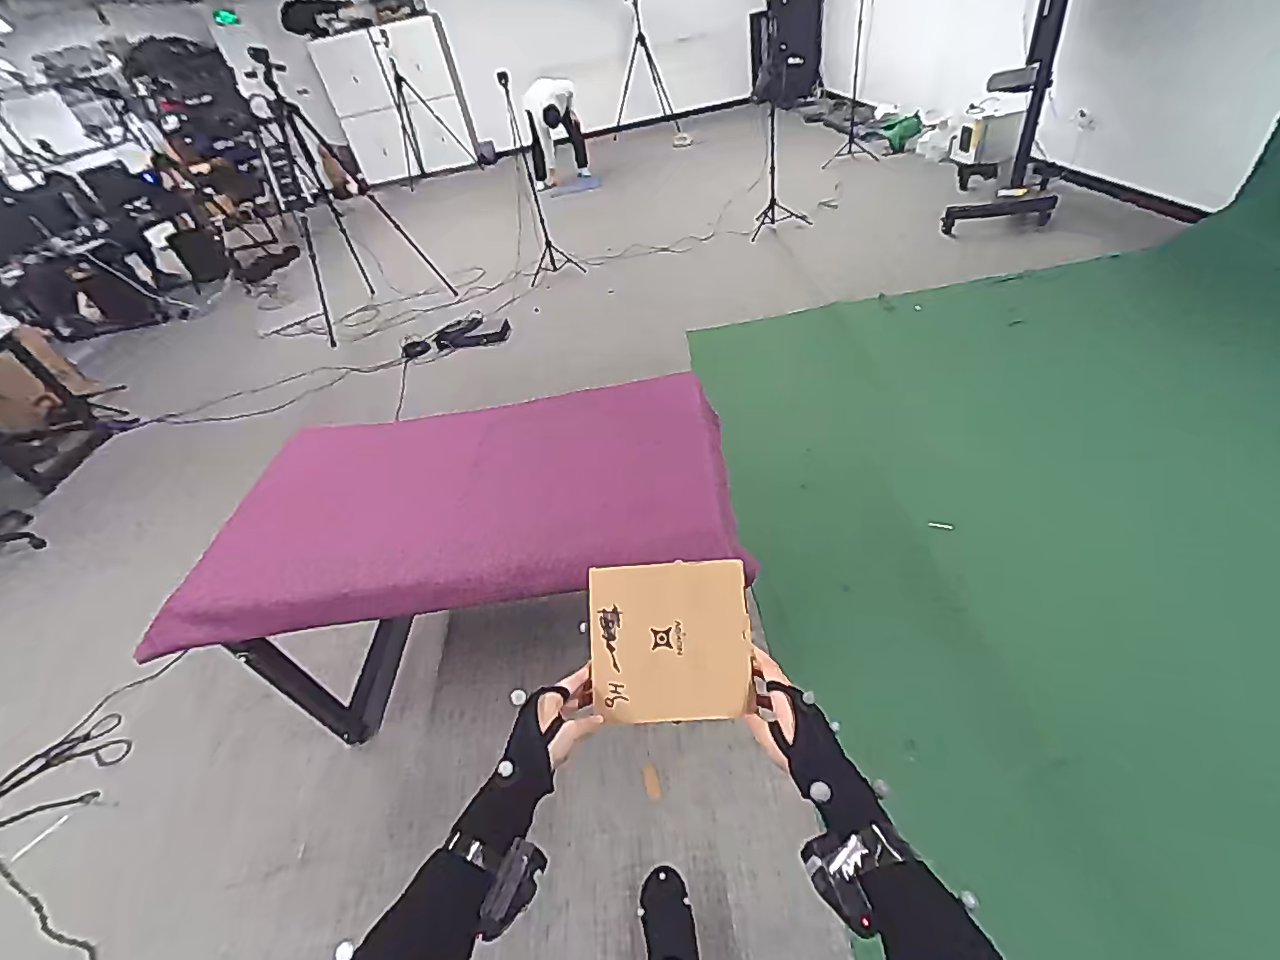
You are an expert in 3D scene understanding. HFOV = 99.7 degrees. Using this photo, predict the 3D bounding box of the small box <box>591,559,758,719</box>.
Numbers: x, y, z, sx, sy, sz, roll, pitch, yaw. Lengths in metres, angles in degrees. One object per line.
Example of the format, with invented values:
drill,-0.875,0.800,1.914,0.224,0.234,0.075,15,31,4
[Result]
small box,0.037,0.192,0.661,0.179,0.176,0.168,-4,72,3
